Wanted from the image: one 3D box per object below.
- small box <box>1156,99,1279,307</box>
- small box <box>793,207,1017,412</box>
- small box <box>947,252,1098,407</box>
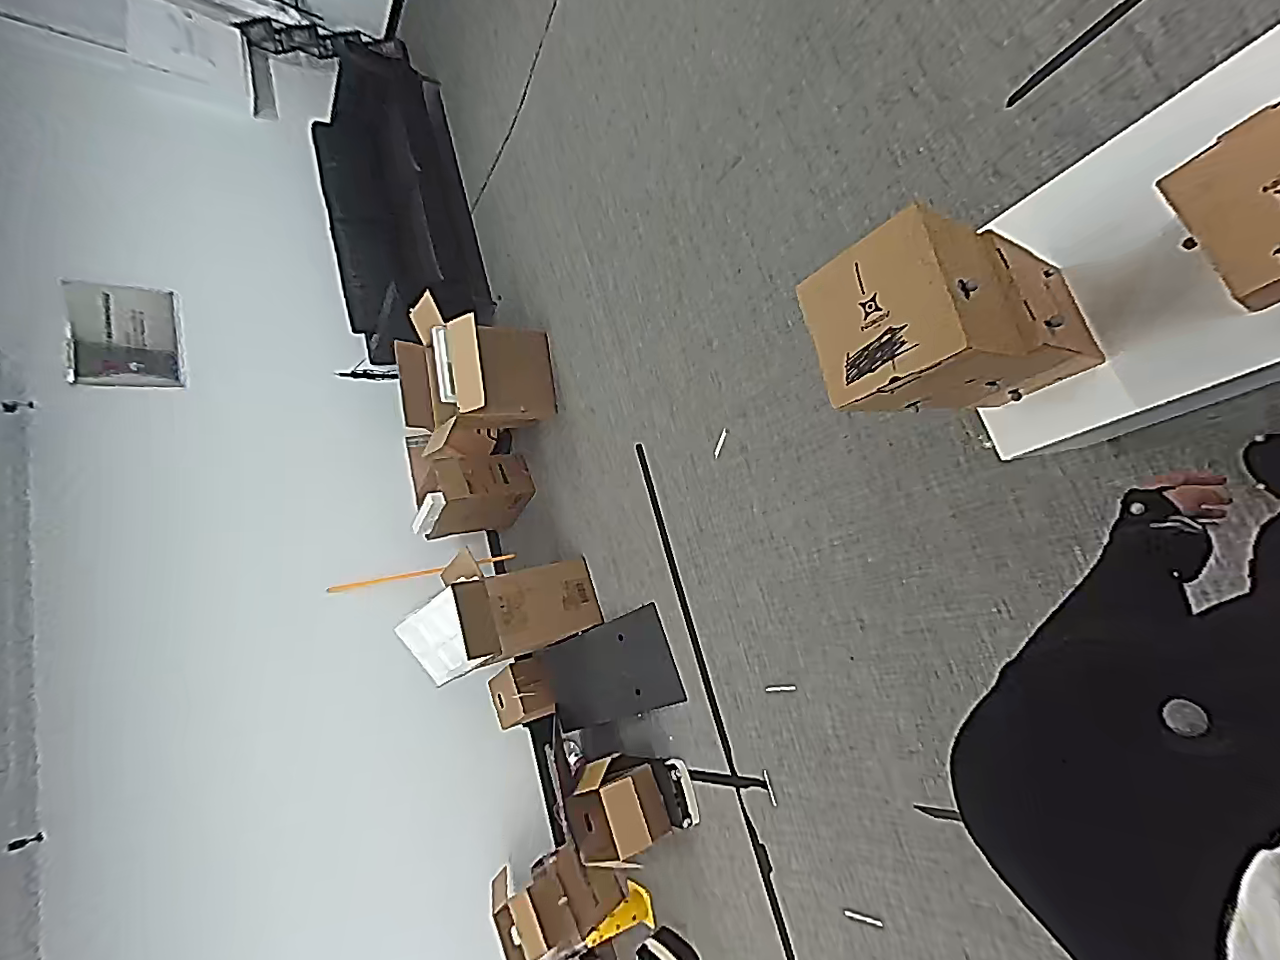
[{"bbox_3d":[0.760,-0.324,0.628,0.168,0.176,0.179,-36,66,50],"label":"small box"},{"bbox_3d":[0.326,-0.195,0.668,0.168,0.176,0.179,-26,73,50],"label":"small box"},{"bbox_3d":[0.587,-0.230,0.866,0.168,0.176,0.179,-31,70,49],"label":"small box"}]
